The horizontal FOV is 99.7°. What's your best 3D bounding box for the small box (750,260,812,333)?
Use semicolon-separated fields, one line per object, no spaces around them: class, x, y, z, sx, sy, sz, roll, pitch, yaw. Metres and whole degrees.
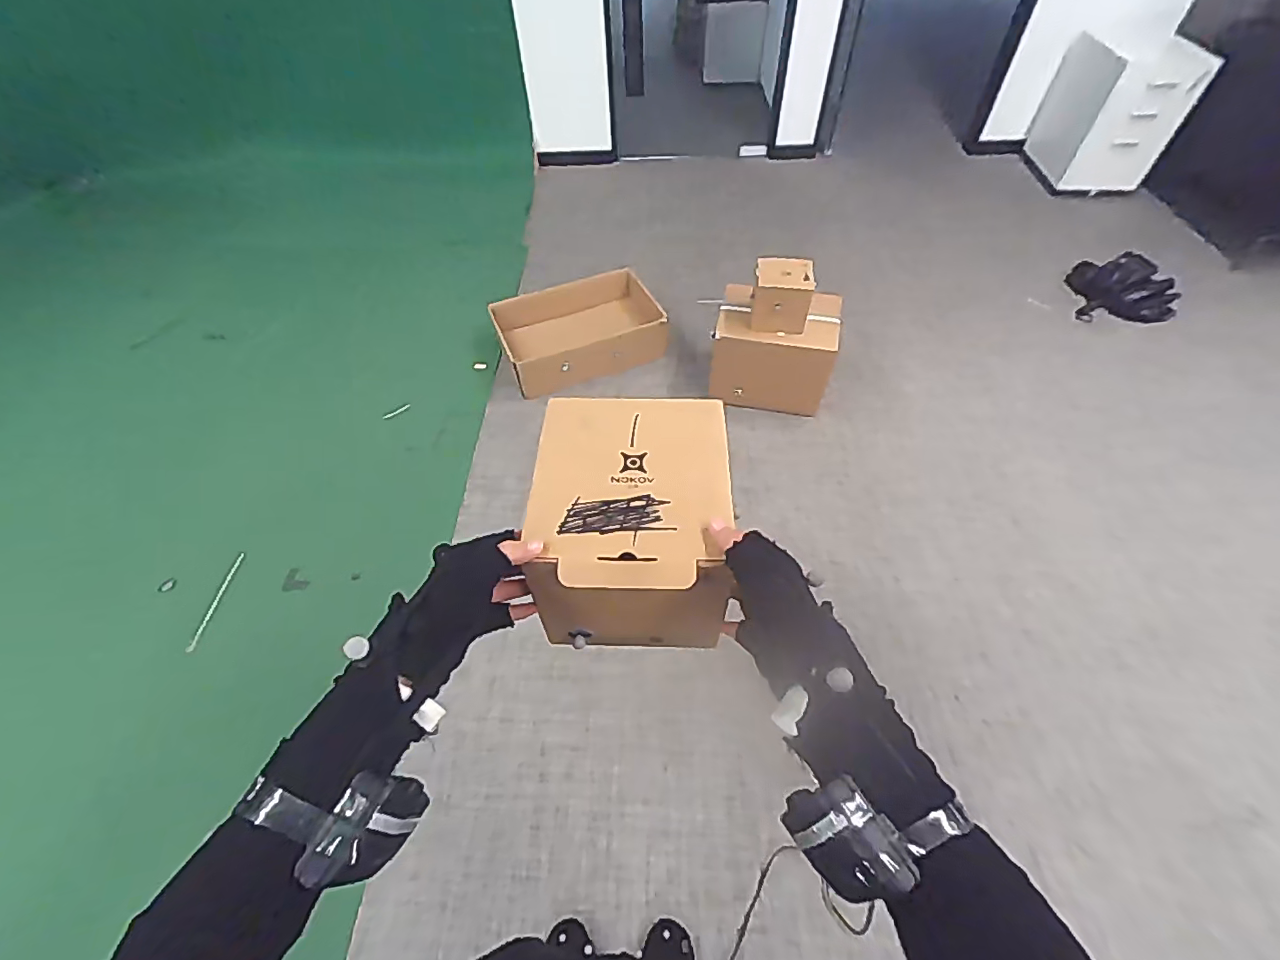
small box;0.458;-0.600;1.776;0.179;0.176;0.168;5;54;6

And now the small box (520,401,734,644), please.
small box;-0.005;0.045;0.515;0.168;0.176;0.179;1;51;2
